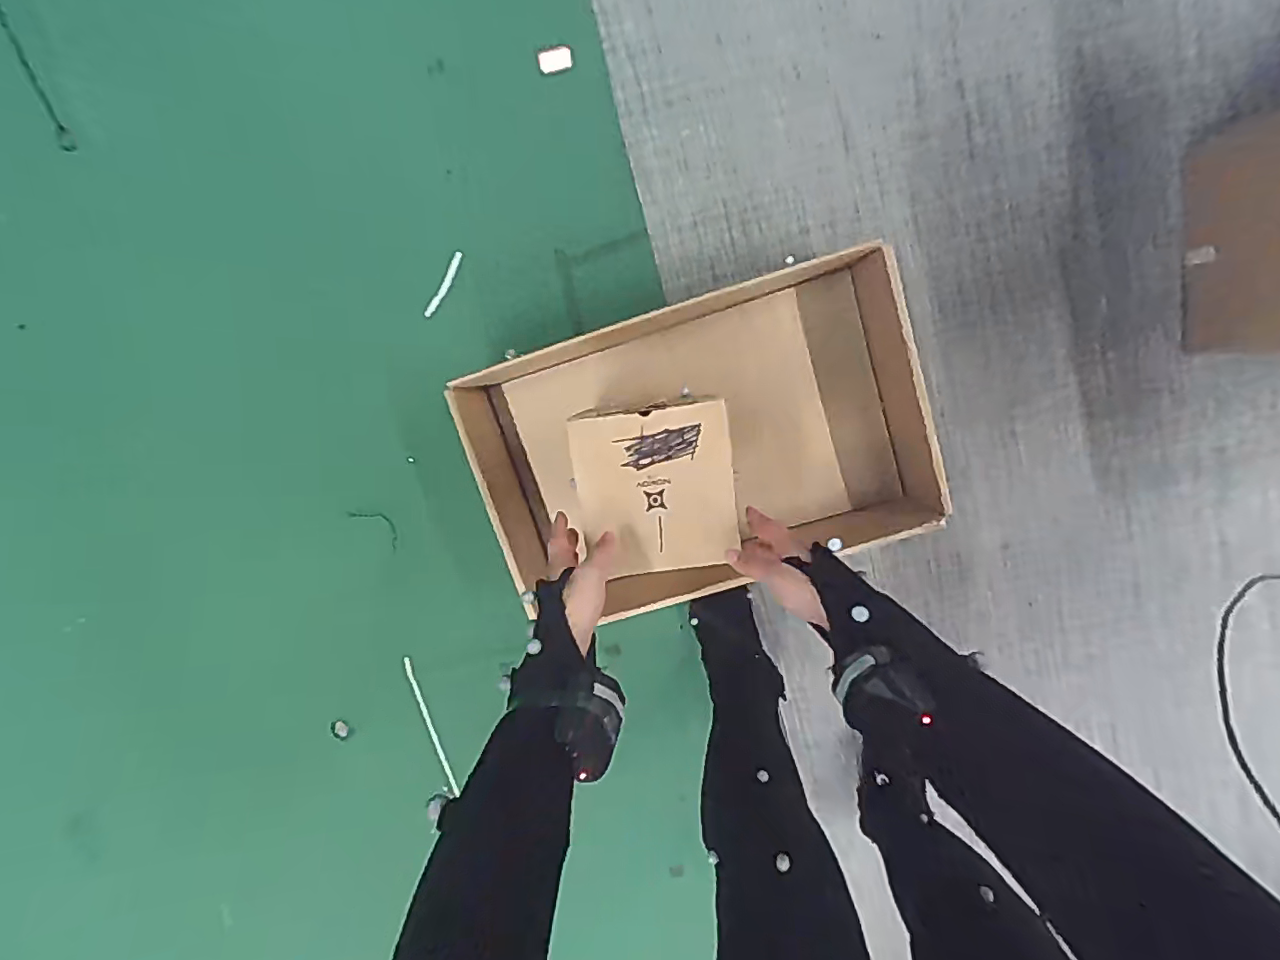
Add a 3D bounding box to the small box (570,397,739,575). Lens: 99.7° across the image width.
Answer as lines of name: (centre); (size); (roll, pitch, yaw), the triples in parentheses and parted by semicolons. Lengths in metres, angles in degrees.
small box: (0.017, -0.004, 0.648); (0.168, 0.176, 0.179); (-8, 101, 3)
